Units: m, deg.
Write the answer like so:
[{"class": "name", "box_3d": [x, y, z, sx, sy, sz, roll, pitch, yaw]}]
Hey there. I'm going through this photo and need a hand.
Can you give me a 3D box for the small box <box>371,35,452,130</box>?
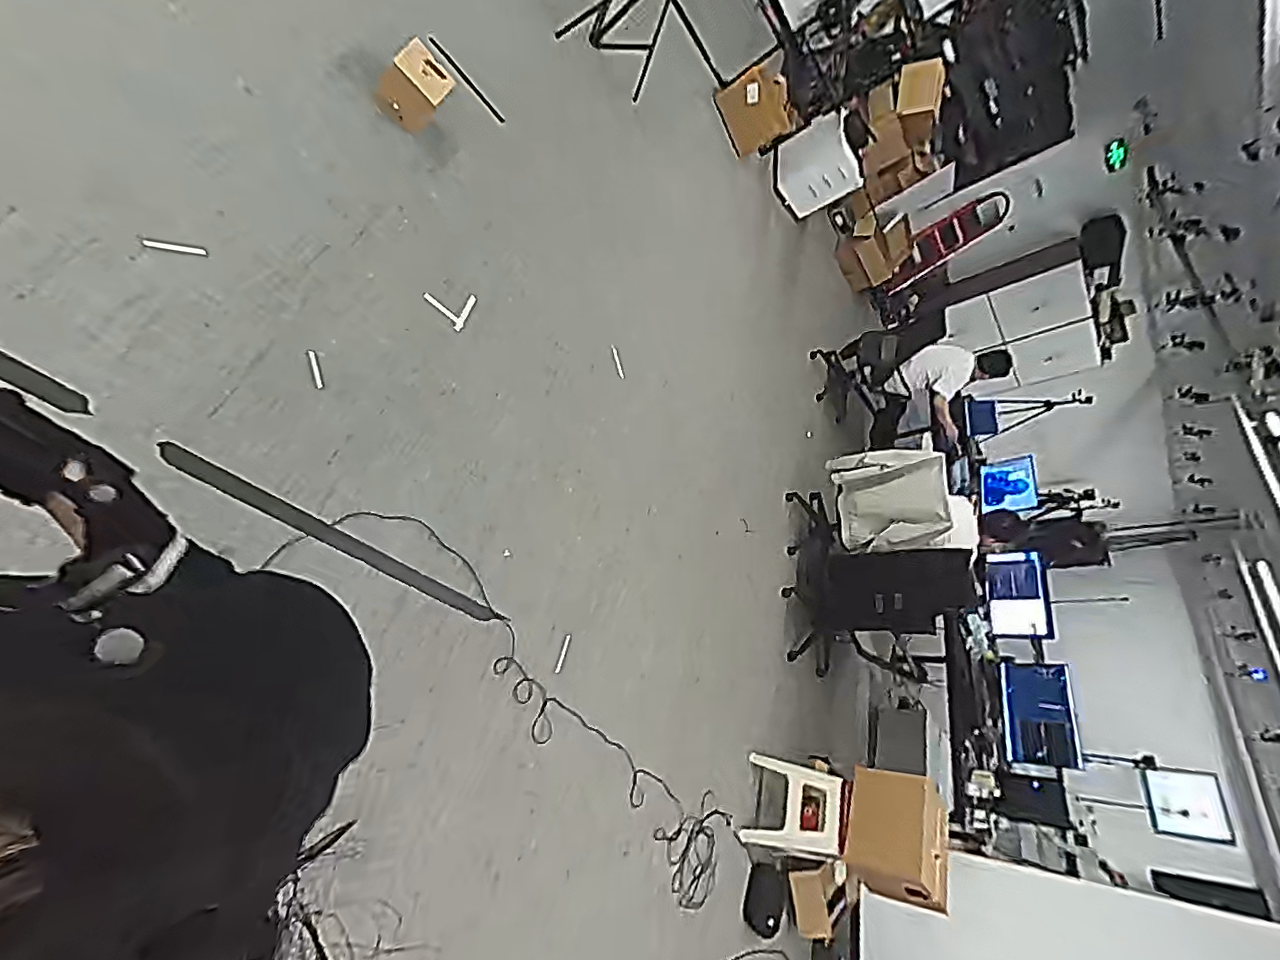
[{"class": "small box", "box_3d": [-0.785, -1.352, 1.848, 0.168, 0.176, 0.179, 40, 52, -35]}]
